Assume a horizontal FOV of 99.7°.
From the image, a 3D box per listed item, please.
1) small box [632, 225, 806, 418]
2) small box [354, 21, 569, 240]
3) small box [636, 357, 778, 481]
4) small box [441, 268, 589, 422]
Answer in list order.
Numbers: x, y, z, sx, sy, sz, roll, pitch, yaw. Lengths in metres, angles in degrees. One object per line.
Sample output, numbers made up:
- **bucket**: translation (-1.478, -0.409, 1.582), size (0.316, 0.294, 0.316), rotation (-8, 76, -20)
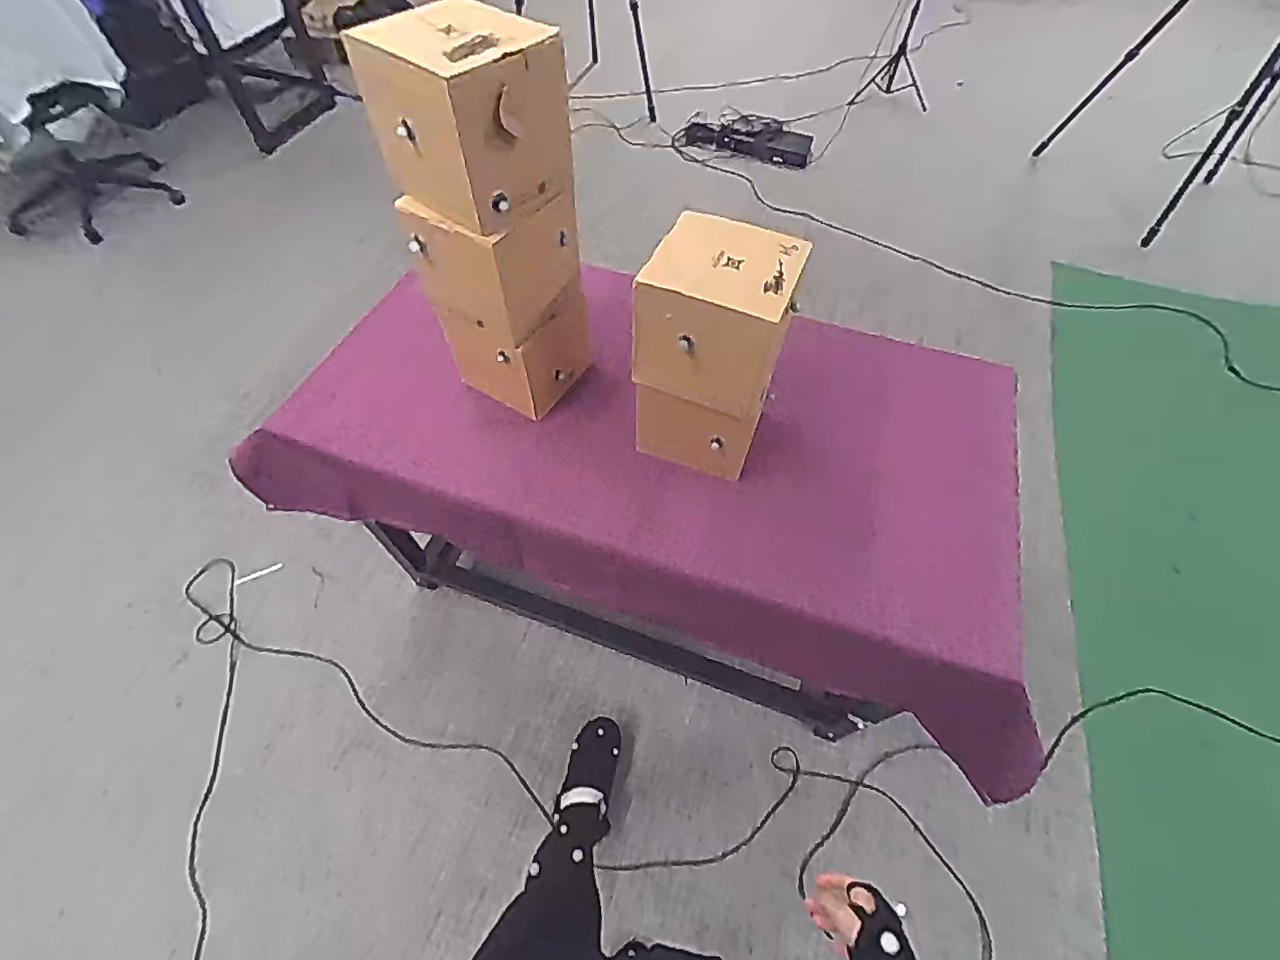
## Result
- **small box**: translation (0.100, -0.209, 0.732), size (0.179, 0.176, 0.168), rotation (20, 58, 13)
- **small box**: translation (-0.205, -0.430, 0.677), size (0.179, 0.176, 0.168), rotation (33, 60, 20)
- **small box**: translation (0.102, -0.121, 0.870), size (0.179, 0.176, 0.168), rotation (18, 57, 11)
- **small box**: translation (-0.206, -0.229, 0.938), size (0.179, 0.176, 0.168), rotation (27, 59, 15)
